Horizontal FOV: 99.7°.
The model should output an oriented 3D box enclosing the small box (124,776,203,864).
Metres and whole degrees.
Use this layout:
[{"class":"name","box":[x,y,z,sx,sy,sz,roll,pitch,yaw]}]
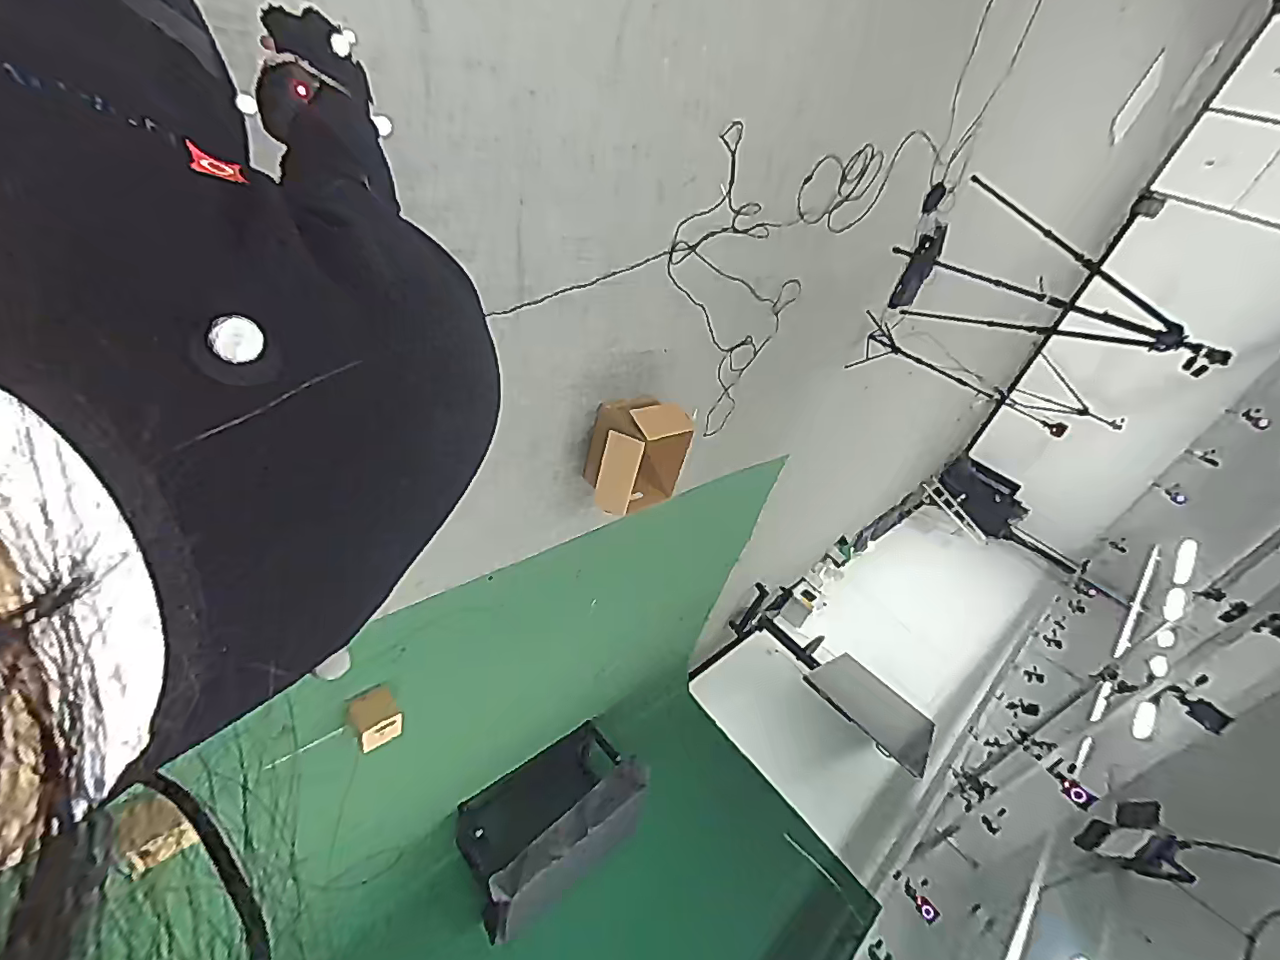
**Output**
[{"class":"small box","box":[-1.706,1.209,1.933,0.179,0.176,0.168,-19,139,-41]}]
